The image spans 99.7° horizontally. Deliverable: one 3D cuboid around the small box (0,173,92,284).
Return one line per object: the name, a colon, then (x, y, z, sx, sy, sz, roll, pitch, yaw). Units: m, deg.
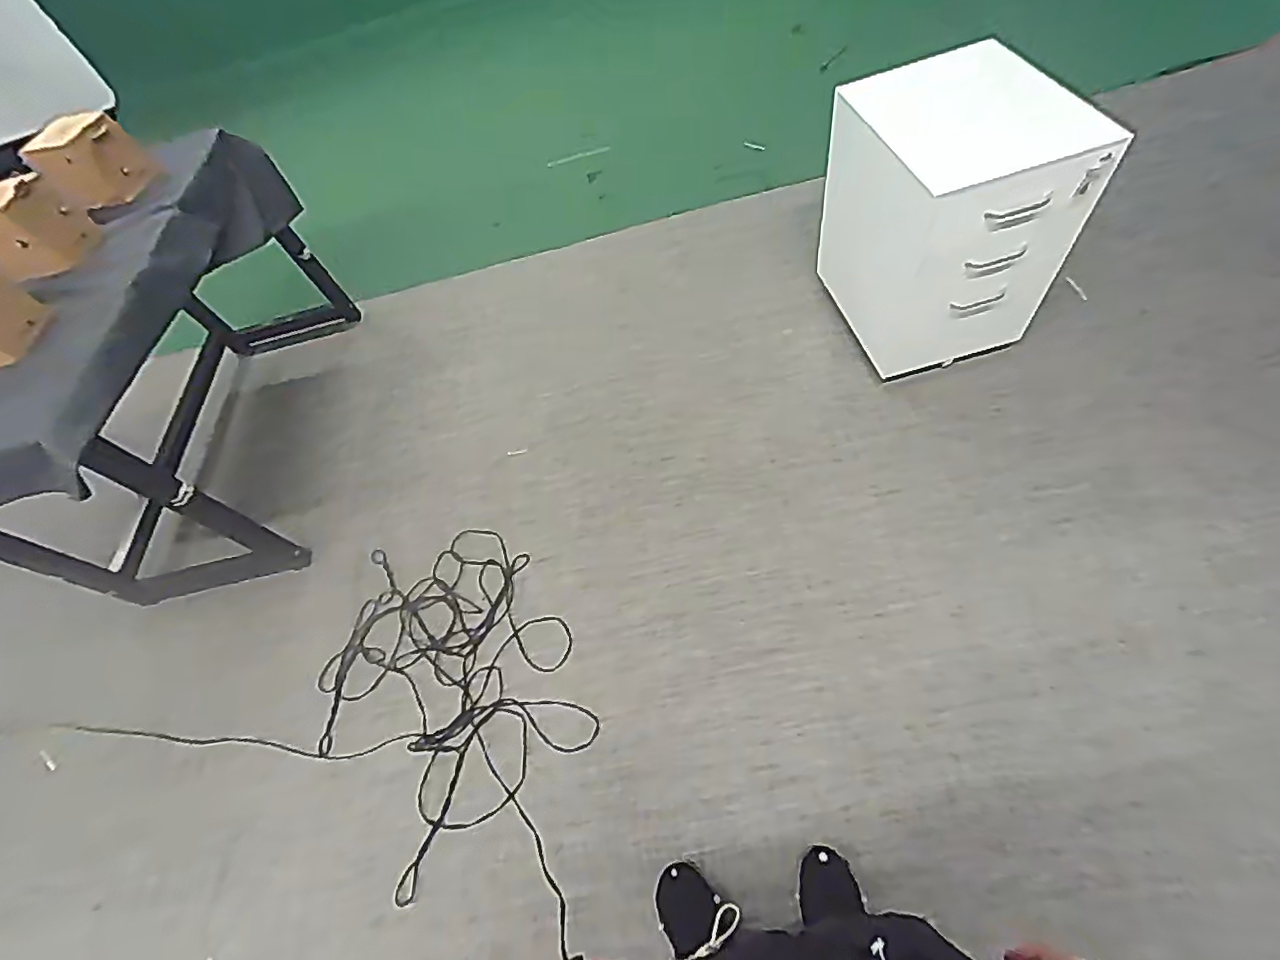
small box: (-1.540, -0.617, 1.339, 0.179, 0.176, 0.168, -11, 57, 8)

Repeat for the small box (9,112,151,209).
small box: (-1.531, -0.874, 1.490, 0.179, 0.176, 0.168, 1, 60, 13)
